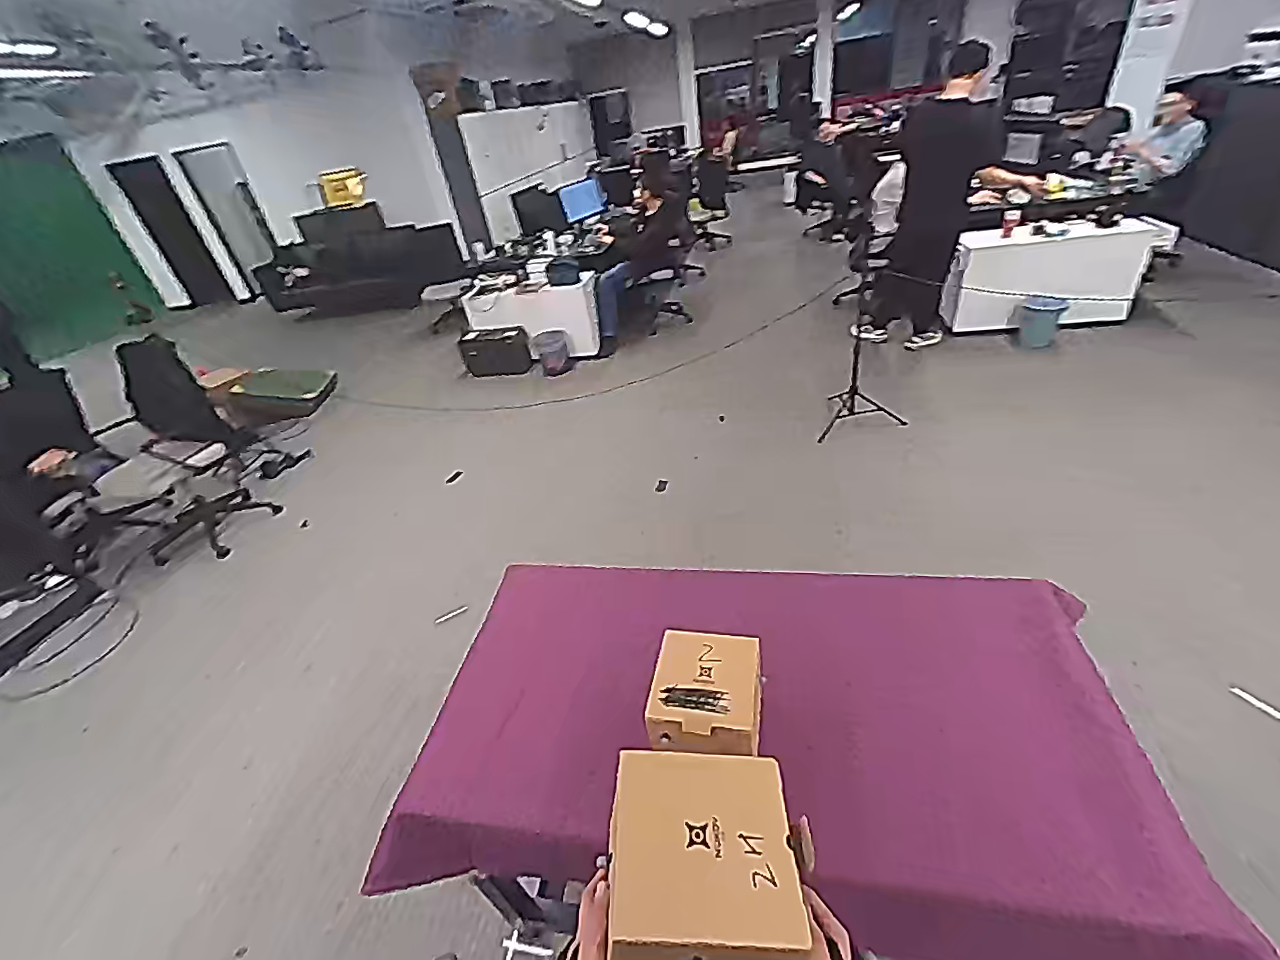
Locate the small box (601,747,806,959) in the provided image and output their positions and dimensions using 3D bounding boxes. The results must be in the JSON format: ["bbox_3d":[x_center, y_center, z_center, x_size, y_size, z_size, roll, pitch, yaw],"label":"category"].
[{"bbox_3d":[0.053,0.411,0.571,0.179,0.176,0.168,6,35,-2],"label":"small box"}]
